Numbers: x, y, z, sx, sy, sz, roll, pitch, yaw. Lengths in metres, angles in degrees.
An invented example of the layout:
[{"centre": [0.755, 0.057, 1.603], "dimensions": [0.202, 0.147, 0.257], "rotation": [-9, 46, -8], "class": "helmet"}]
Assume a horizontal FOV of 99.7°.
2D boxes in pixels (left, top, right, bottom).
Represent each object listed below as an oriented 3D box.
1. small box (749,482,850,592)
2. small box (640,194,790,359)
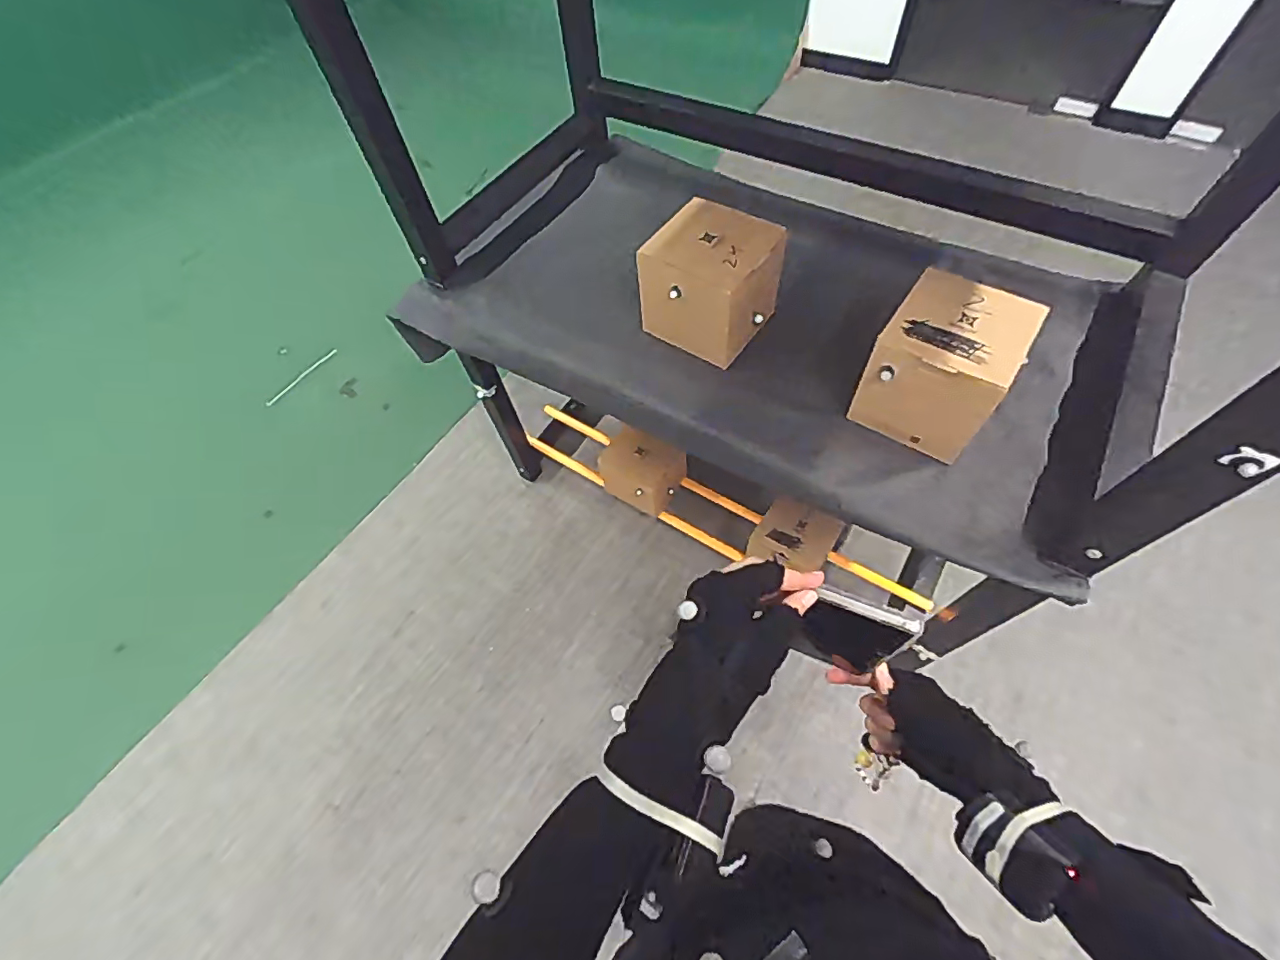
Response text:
[{"centre": [0.379, 0.146, 1.316], "dimensions": [0.168, 0.176, 0.179], "rotation": [31, 67, 21], "class": "small box"}, {"centre": [0.120, -0.331, 0.894], "dimensions": [0.179, 0.176, 0.168], "rotation": [31, 67, 21], "class": "small box"}]
